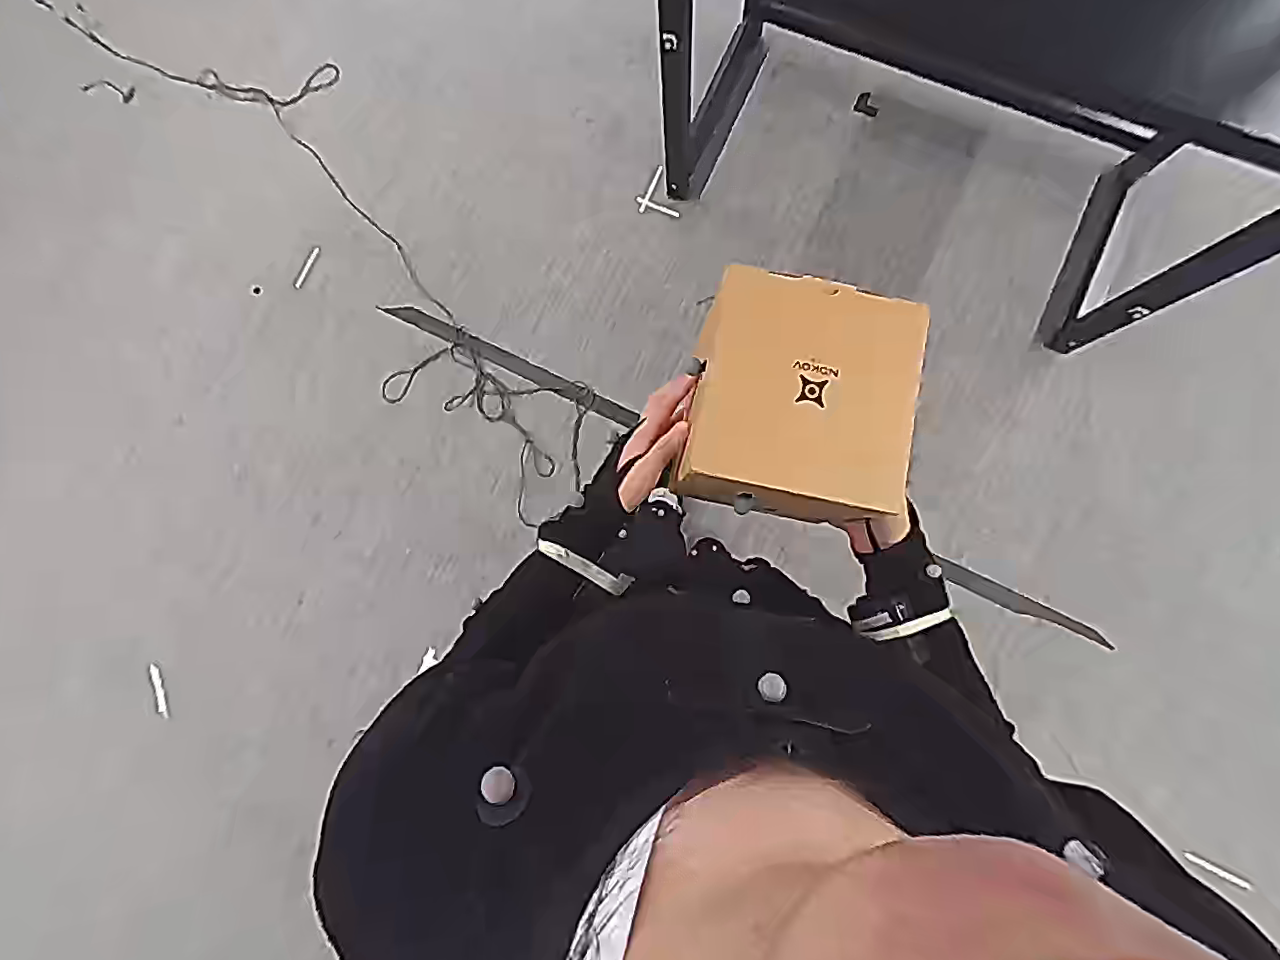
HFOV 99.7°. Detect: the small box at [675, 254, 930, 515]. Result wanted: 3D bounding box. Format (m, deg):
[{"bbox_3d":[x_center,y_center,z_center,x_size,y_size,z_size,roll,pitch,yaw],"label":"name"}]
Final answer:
[{"bbox_3d":[0.131,-0.069,0.497,0.168,0.176,0.179,12,82,-1],"label":"small box"}]
